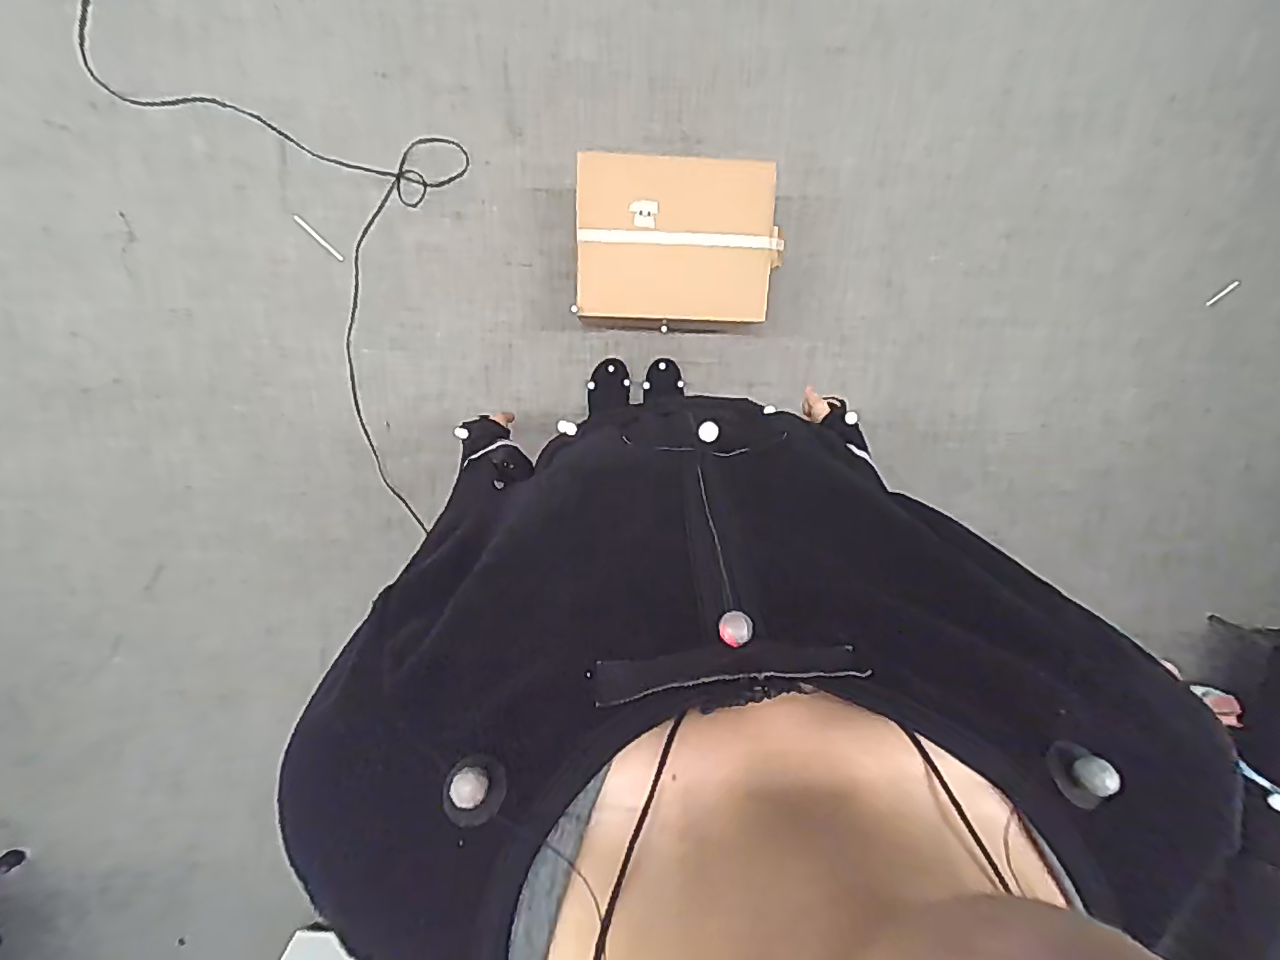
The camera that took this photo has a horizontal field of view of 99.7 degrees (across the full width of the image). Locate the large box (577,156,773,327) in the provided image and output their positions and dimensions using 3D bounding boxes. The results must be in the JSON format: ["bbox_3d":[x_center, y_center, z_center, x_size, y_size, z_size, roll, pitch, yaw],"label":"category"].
[{"bbox_3d":[0.065,-0.526,1.262,0.408,0.320,0.320,2,102,-3],"label":"large box"}]
